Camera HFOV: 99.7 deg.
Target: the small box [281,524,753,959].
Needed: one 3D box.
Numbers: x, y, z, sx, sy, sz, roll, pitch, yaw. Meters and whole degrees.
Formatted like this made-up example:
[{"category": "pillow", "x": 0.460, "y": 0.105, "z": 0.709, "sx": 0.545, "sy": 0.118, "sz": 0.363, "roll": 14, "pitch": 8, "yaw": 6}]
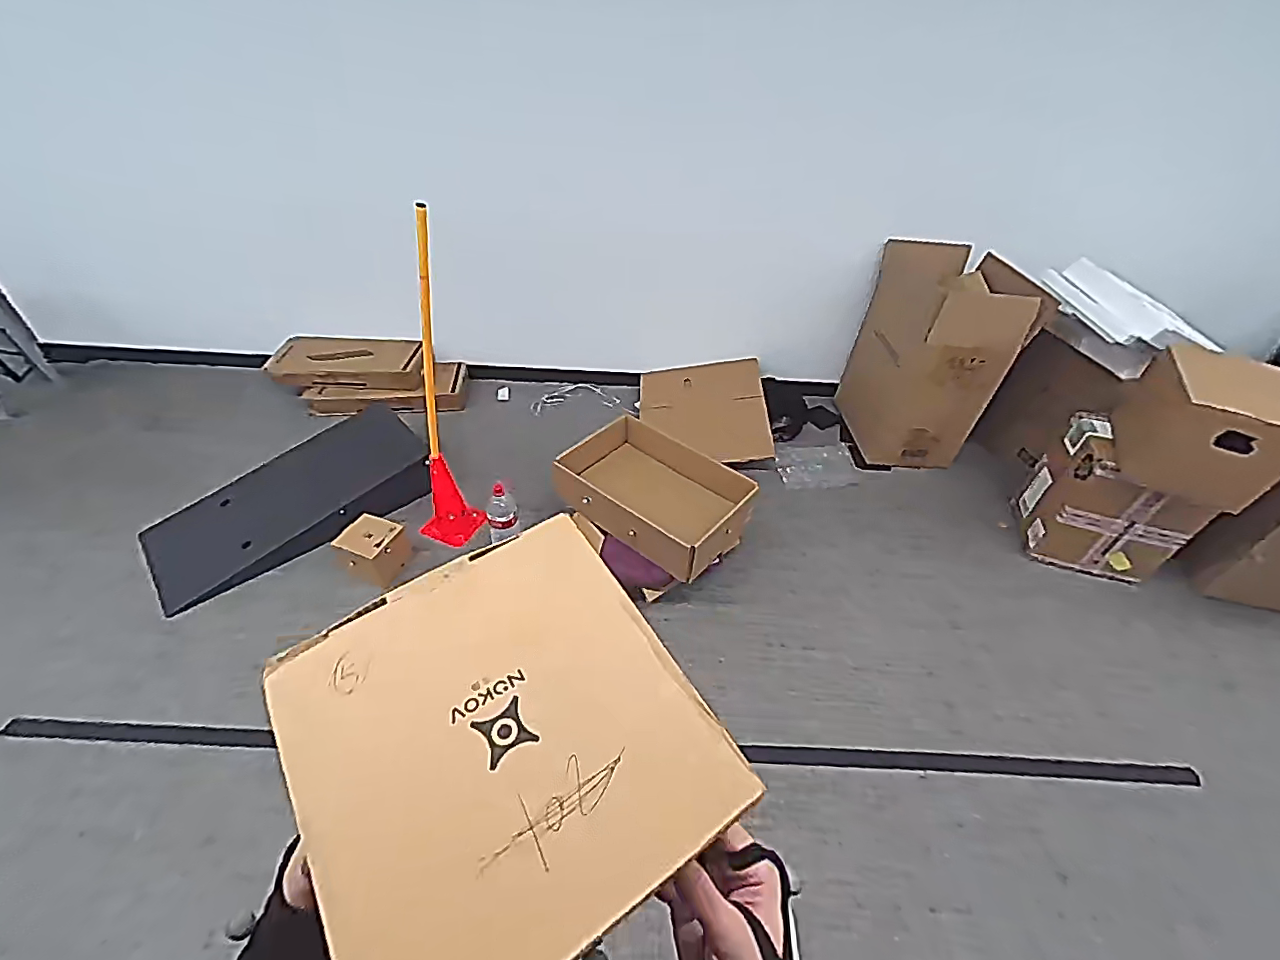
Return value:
[{"category": "small box", "x": -0.067, "y": 0.165, "z": 0.317, "sx": 0.168, "sy": 0.176, "sz": 0.179, "roll": -28, "pitch": 59, "yaw": -23}]
